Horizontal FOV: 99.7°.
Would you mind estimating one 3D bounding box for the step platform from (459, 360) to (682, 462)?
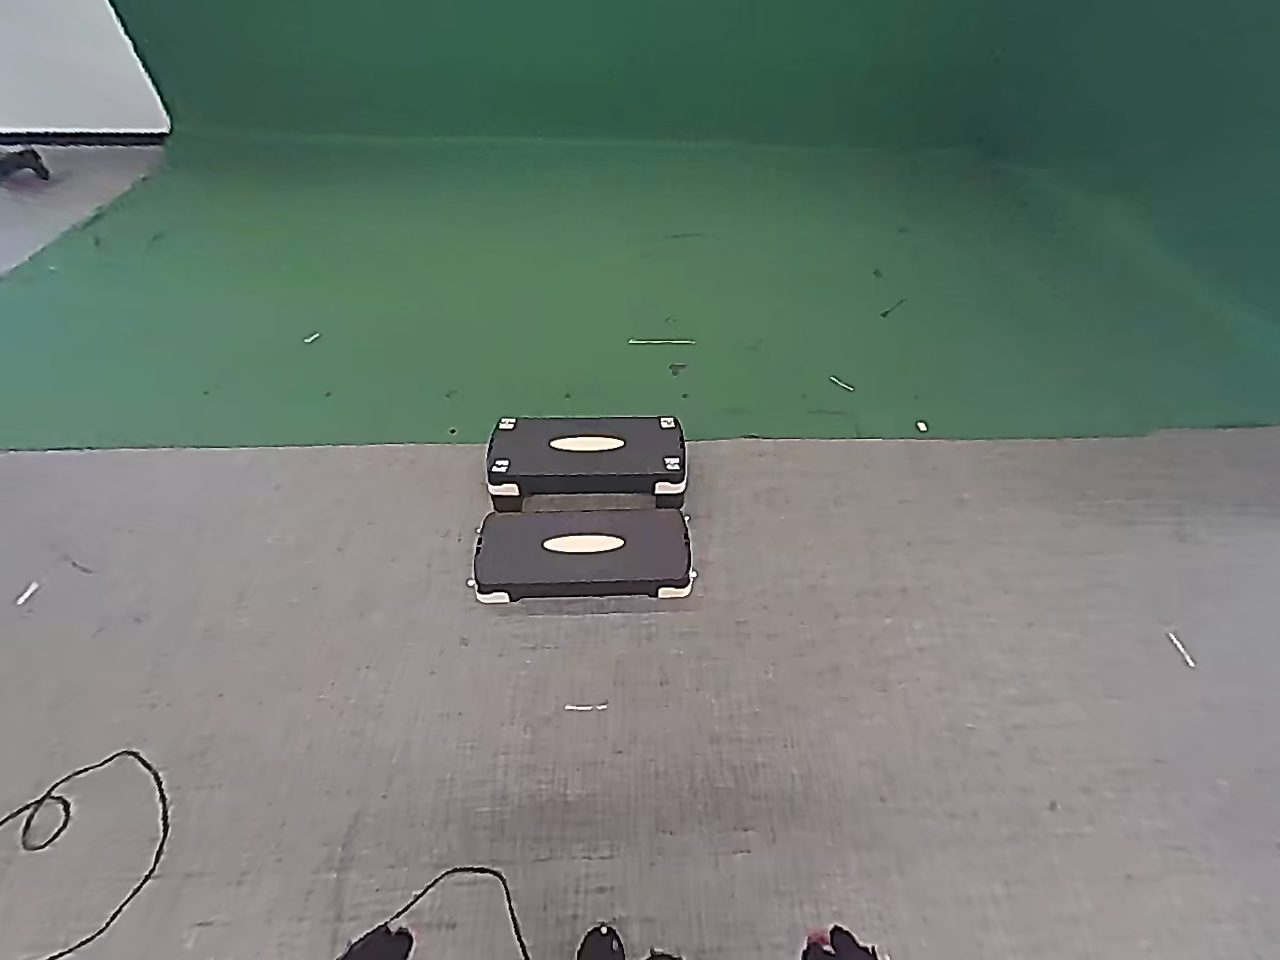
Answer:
[{"bbox_3d":[-0.211,-0.223,1.748,0.684,0.204,0.286,-1,50,-2],"label":"step platform"}]
